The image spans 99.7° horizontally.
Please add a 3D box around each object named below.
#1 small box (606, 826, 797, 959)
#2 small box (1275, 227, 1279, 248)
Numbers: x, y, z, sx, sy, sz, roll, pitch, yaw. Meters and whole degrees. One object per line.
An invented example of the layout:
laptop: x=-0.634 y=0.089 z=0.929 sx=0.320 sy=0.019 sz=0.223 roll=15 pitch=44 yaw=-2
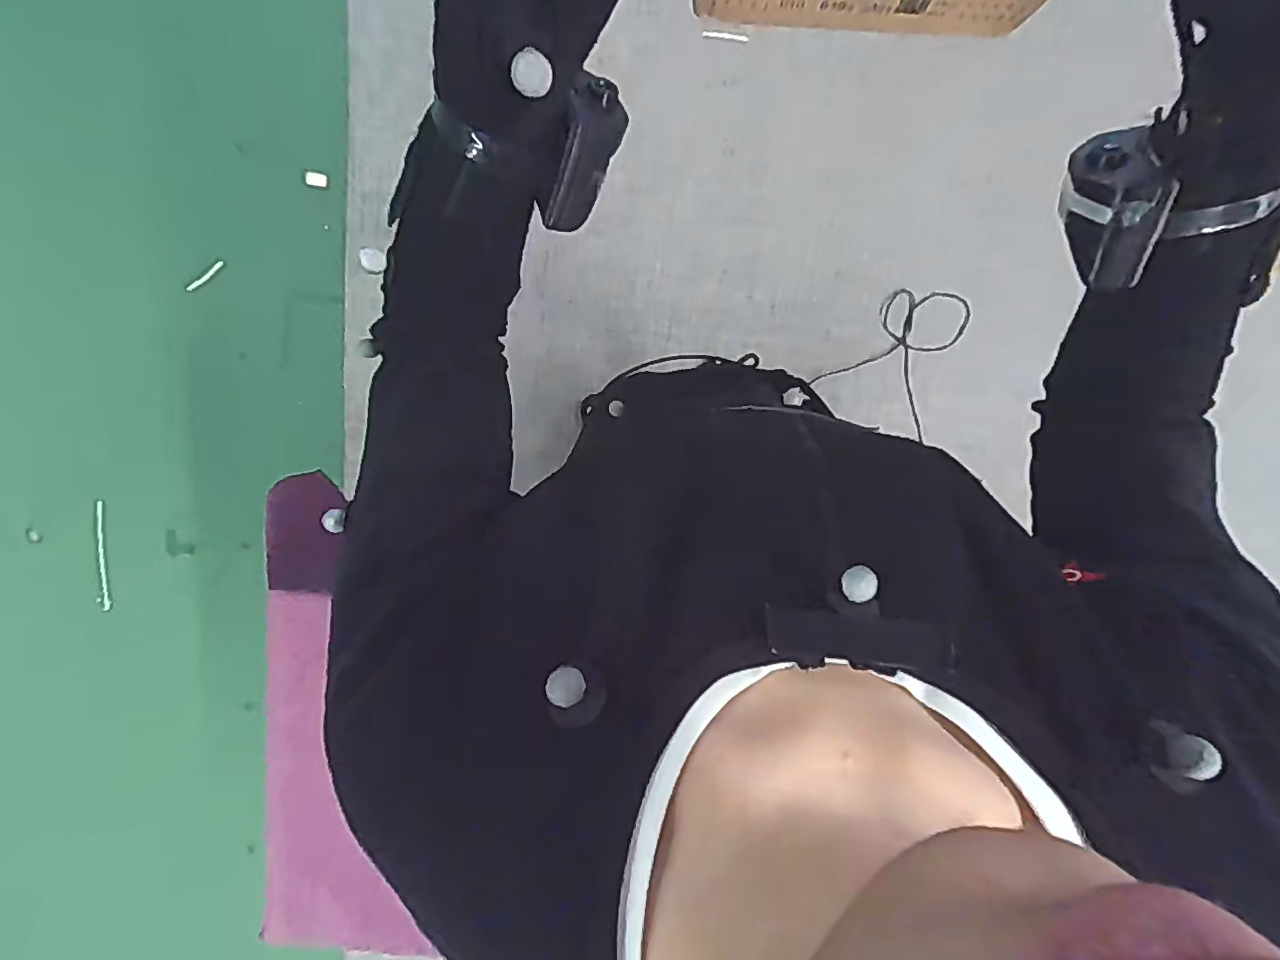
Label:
small box: x=0.060 y=0.513 z=0.584 sx=0.179 sy=0.176 sz=0.168 roll=9 pitch=101 yaw=-3
small box: x=1.526 y=-0.582 z=1.137 sx=0.179 sy=0.176 sz=0.168 roll=5 pitch=101 yaw=-3
